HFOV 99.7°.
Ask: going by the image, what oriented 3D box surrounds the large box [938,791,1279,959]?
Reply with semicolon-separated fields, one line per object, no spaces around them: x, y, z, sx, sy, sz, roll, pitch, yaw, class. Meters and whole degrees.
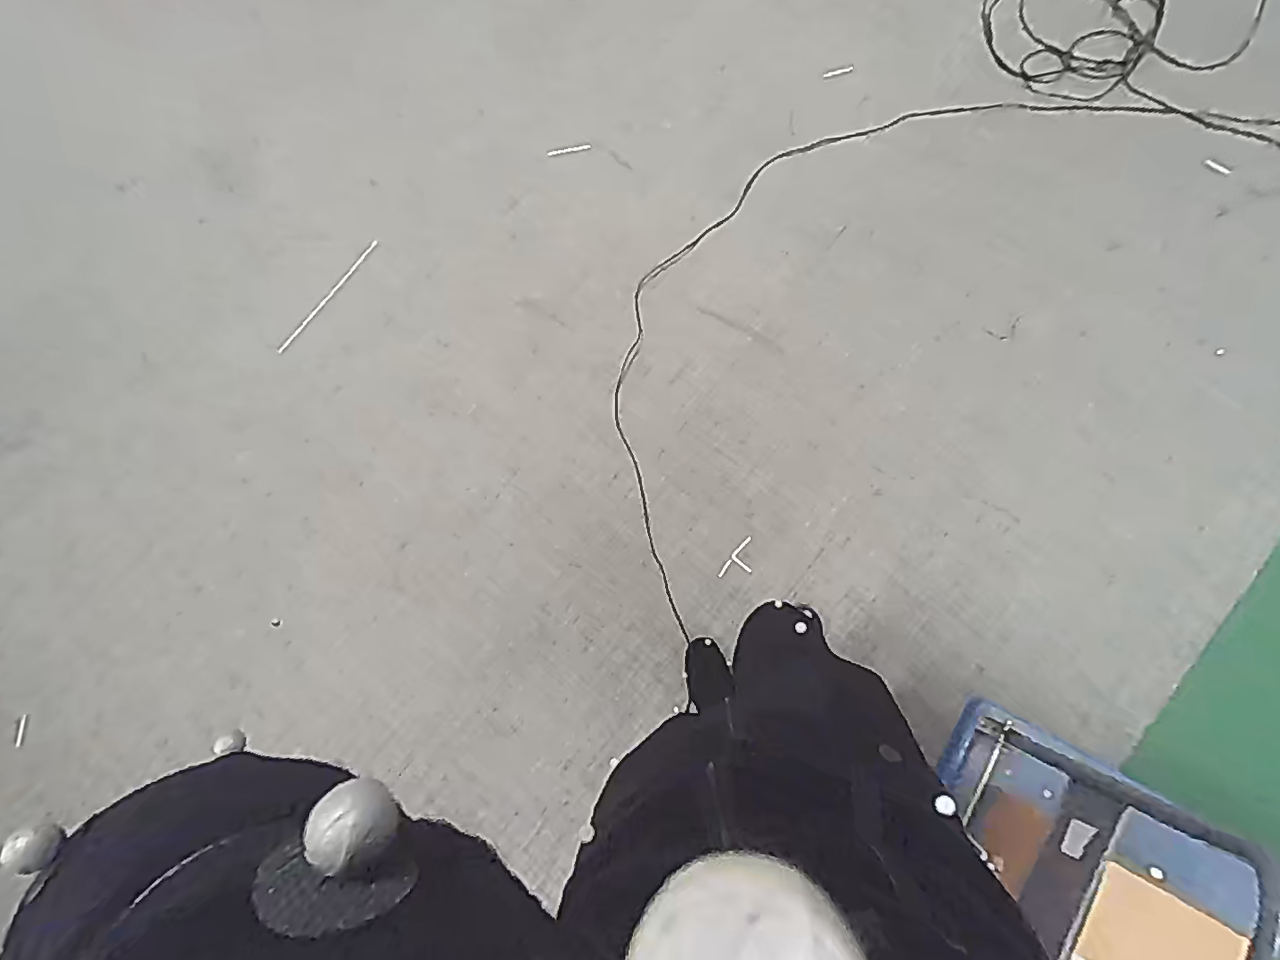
0.829;0.837;0.943;0.408;0.320;0.320;28;83;11;large box
